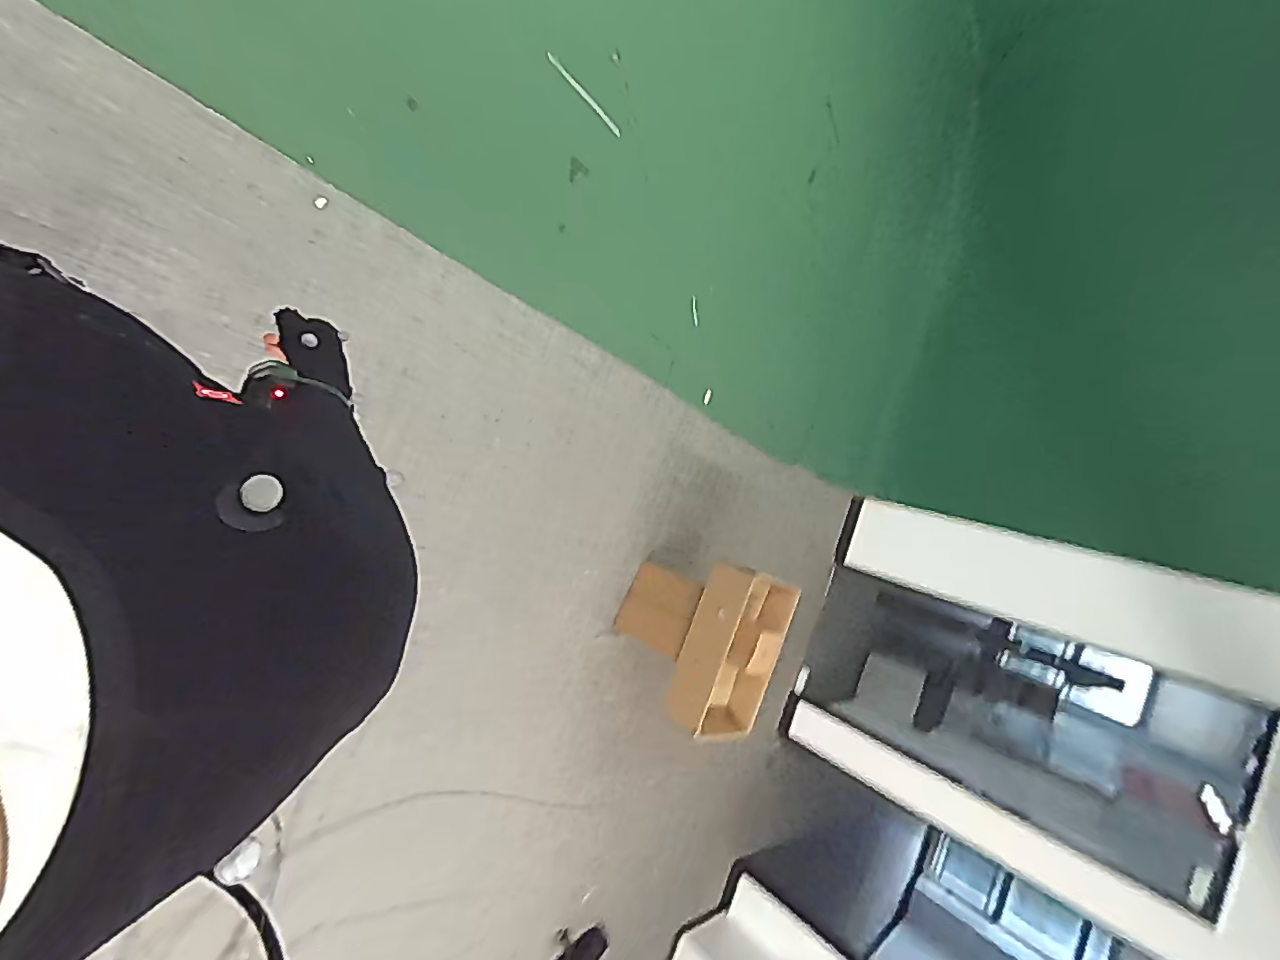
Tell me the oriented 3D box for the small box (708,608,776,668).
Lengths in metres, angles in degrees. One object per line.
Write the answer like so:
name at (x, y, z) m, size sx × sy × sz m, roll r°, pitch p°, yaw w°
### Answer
small box at (0.390, 0.608, 2.083) m, size 0.179 × 0.176 × 0.168 m, roll 24°, pitch 87°, yaw -50°
